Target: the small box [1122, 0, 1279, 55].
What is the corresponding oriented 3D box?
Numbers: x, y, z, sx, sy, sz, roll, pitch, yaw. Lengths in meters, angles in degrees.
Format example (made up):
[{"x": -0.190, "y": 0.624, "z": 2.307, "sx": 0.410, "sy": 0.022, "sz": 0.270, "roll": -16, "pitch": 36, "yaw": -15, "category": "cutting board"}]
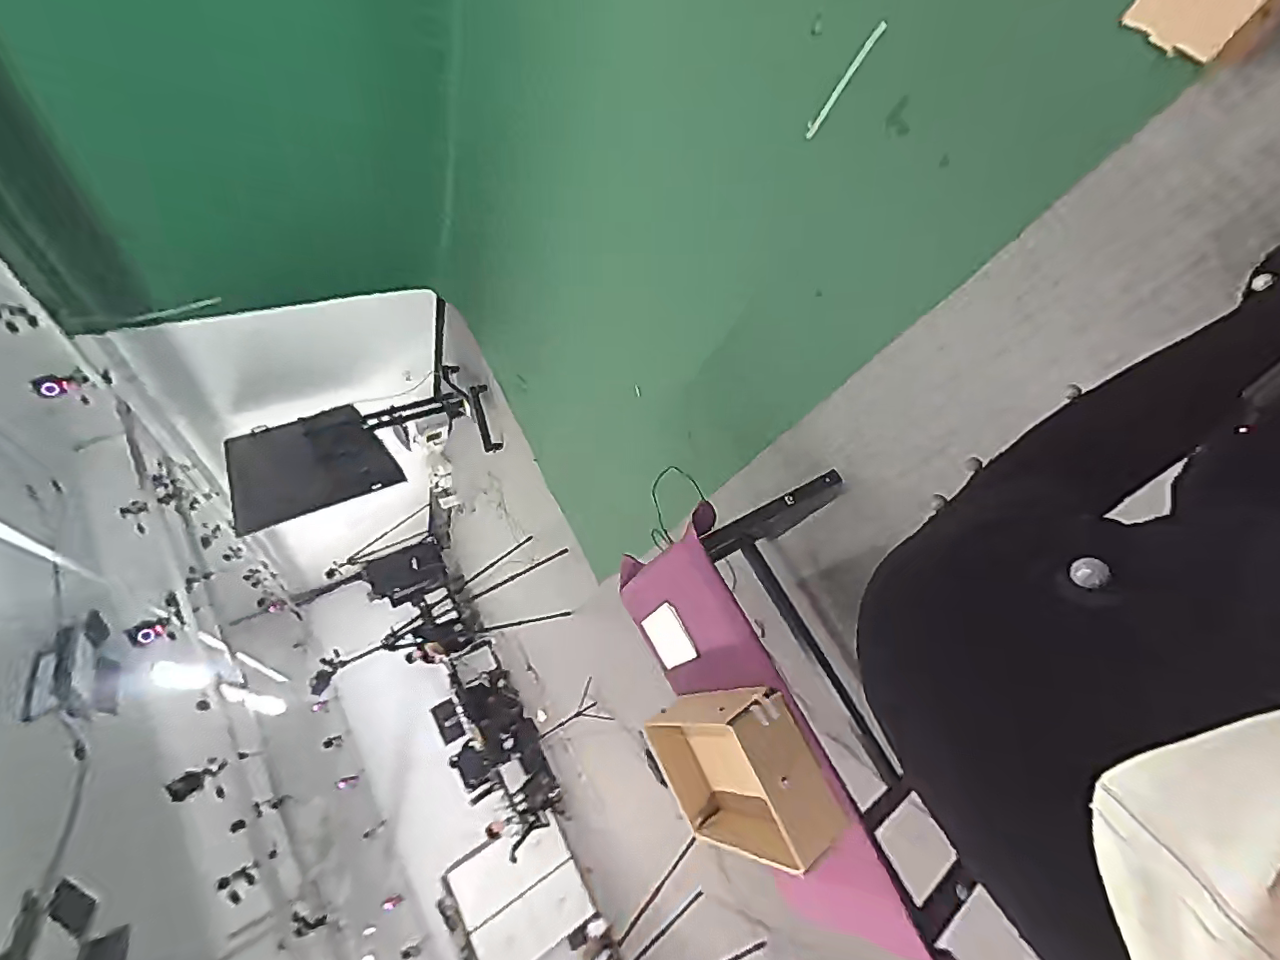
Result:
[{"x": 0.967, "y": -0.830, "z": 0.882, "sx": 0.168, "sy": 0.176, "sz": 0.179, "roll": 55, "pitch": 148, "yaw": 22, "category": "small box"}]
